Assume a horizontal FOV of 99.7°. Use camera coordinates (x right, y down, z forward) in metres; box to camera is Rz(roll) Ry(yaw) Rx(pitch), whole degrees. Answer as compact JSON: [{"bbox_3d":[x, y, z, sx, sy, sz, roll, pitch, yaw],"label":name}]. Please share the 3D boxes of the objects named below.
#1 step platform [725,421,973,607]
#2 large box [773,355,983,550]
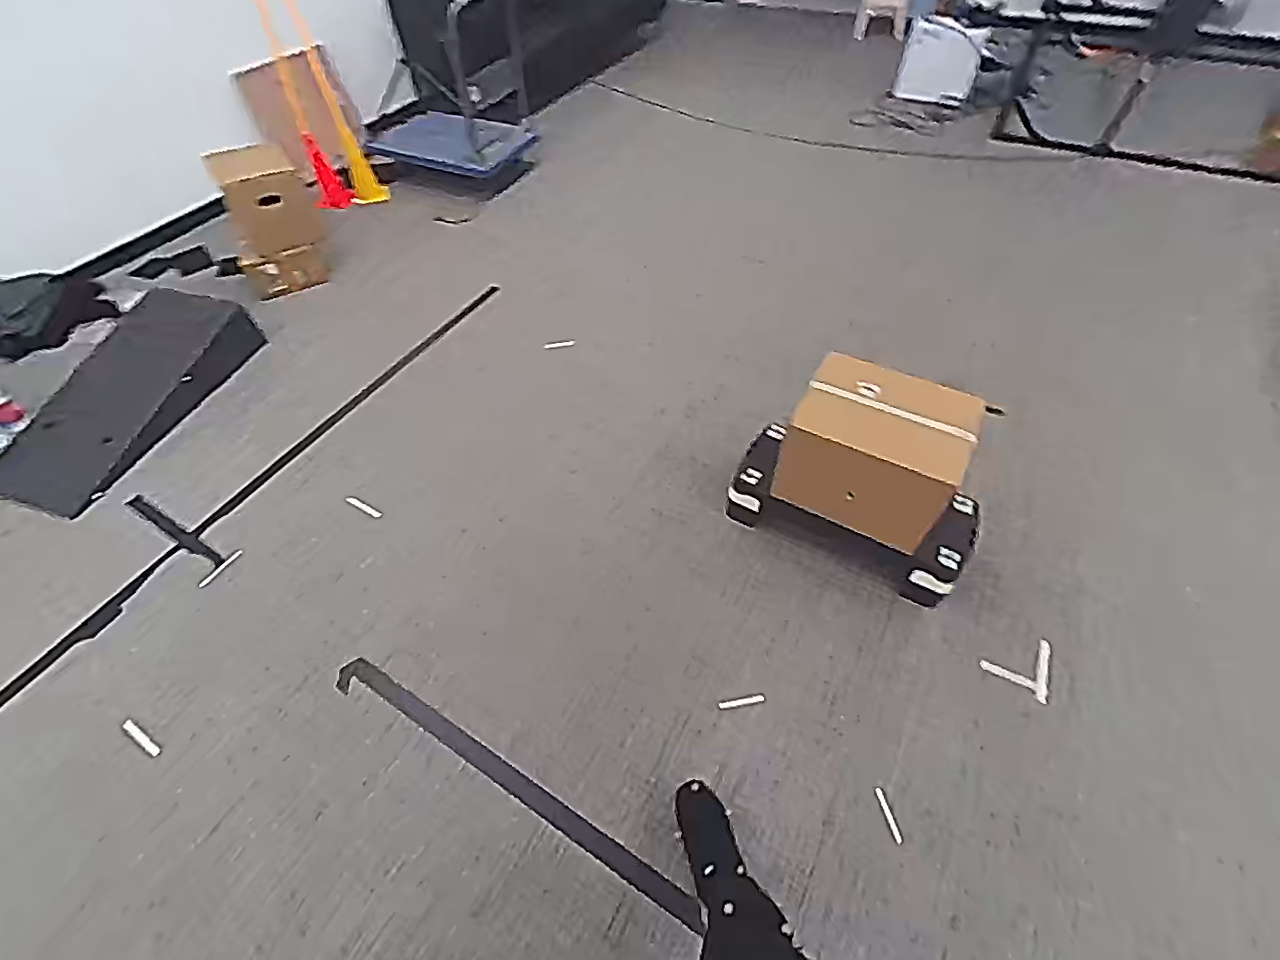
[{"bbox_3d":[0.604,0.076,1.629,0.684,0.204,0.286,28,59,24],"label":"step platform"},{"bbox_3d":[0.615,-0.074,1.443,0.408,0.320,0.320,23,57,21],"label":"large box"}]
